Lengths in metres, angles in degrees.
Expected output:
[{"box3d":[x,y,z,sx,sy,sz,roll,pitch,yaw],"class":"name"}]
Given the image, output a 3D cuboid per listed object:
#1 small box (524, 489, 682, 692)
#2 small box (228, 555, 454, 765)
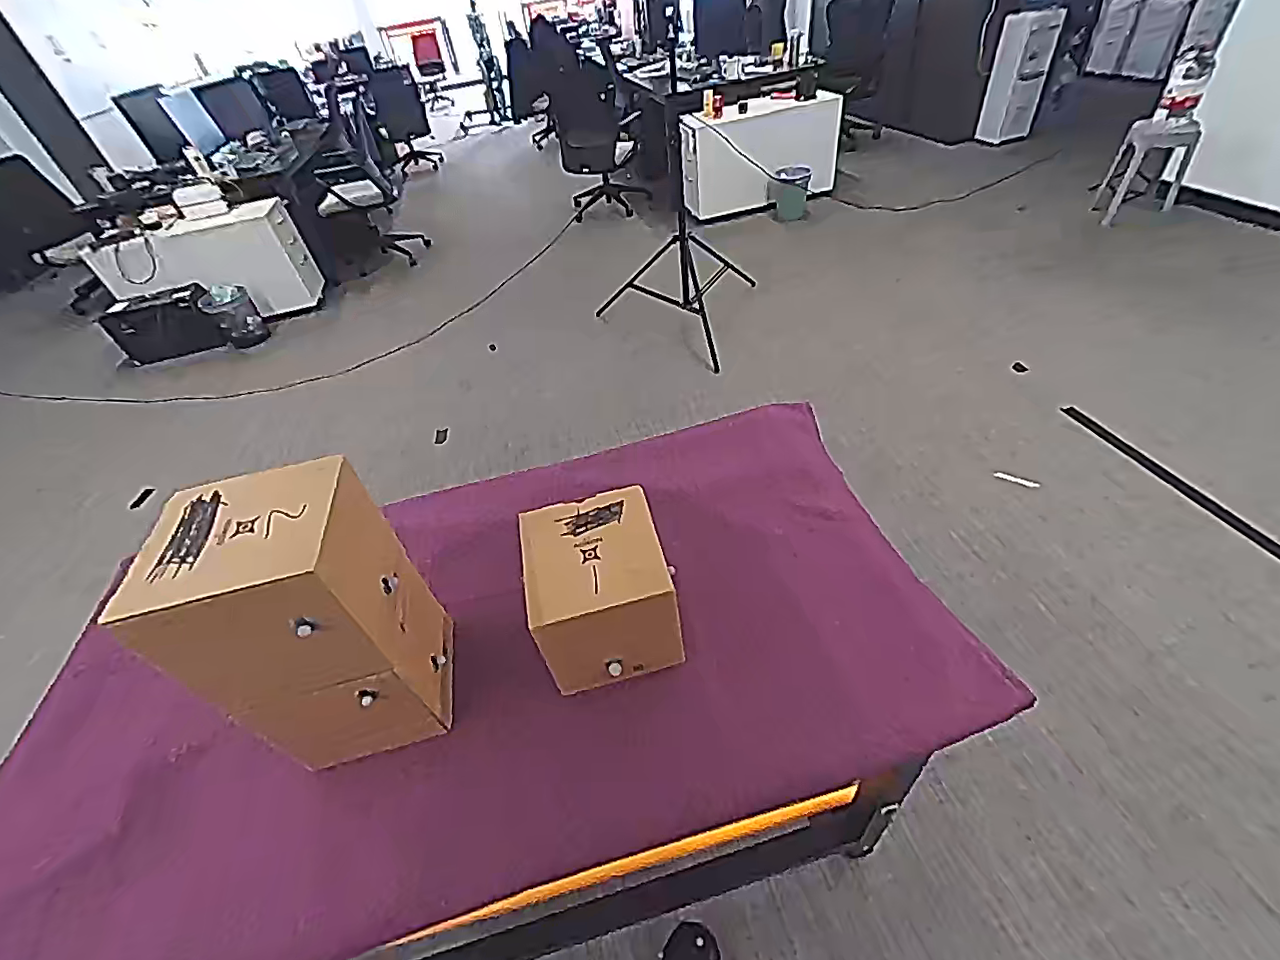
[{"box3d":[-0.048,0.143,0.705,0.168,0.176,0.179,-14,43,-4],"class":"small box"},{"box3d":[-0.349,0.226,0.674,0.179,0.176,0.168,-14,43,-6],"class":"small box"}]
